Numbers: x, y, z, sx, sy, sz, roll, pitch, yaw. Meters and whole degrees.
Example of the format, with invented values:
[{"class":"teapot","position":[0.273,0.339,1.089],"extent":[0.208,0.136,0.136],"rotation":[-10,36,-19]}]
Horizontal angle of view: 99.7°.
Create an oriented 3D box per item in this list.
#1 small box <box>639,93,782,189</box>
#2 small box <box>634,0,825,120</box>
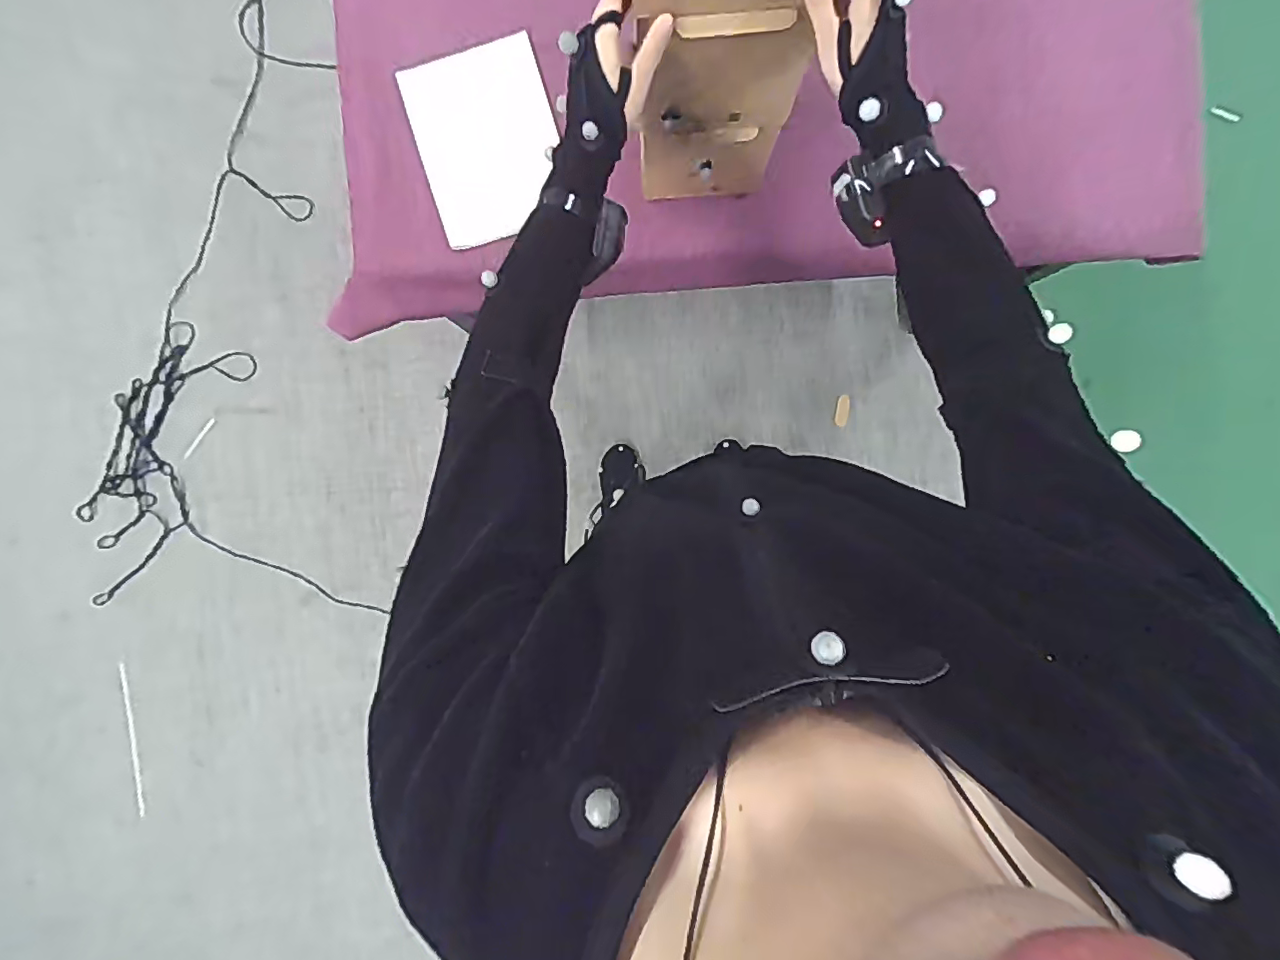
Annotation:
[{"class":"small box","position":[0.082,-0.496,0.695],"extent":[0.168,0.176,0.179],"rotation":[-3,92,1]},{"class":"small box","position":[0.077,-0.486,0.531],"extent":[0.168,0.176,0.179],"rotation":[-3,91,2]}]
